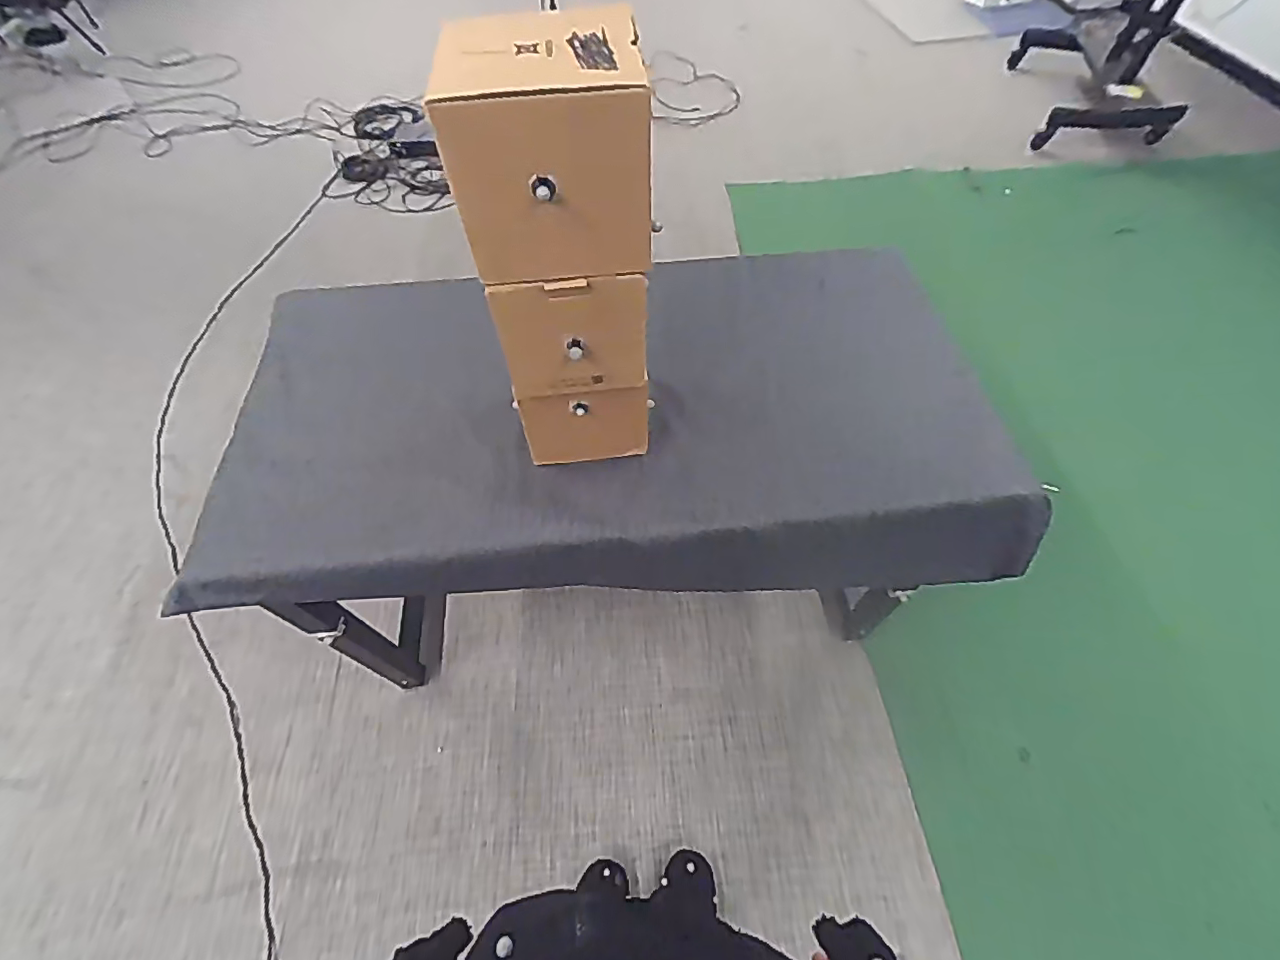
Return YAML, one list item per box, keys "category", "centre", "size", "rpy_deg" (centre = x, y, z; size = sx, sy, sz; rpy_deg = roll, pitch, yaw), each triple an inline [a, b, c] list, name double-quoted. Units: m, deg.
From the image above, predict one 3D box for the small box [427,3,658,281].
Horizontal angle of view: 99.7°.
- category: "small box"
  centre: [-0.085, -0.314, 0.514]
  size: [0.179, 0.176, 0.168]
  rpy_deg: [-7, 58, -5]

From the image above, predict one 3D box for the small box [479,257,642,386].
- category: "small box"
  centre: [-0.089, -0.229, 0.656]
  size: [0.168, 0.176, 0.179]
  rpy_deg: [-7, 59, -3]

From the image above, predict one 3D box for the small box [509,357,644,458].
- category: "small box"
  centre: [-0.088, -0.146, 0.797]
  size: [0.179, 0.176, 0.168]
  rpy_deg: [-5, 58, -4]
